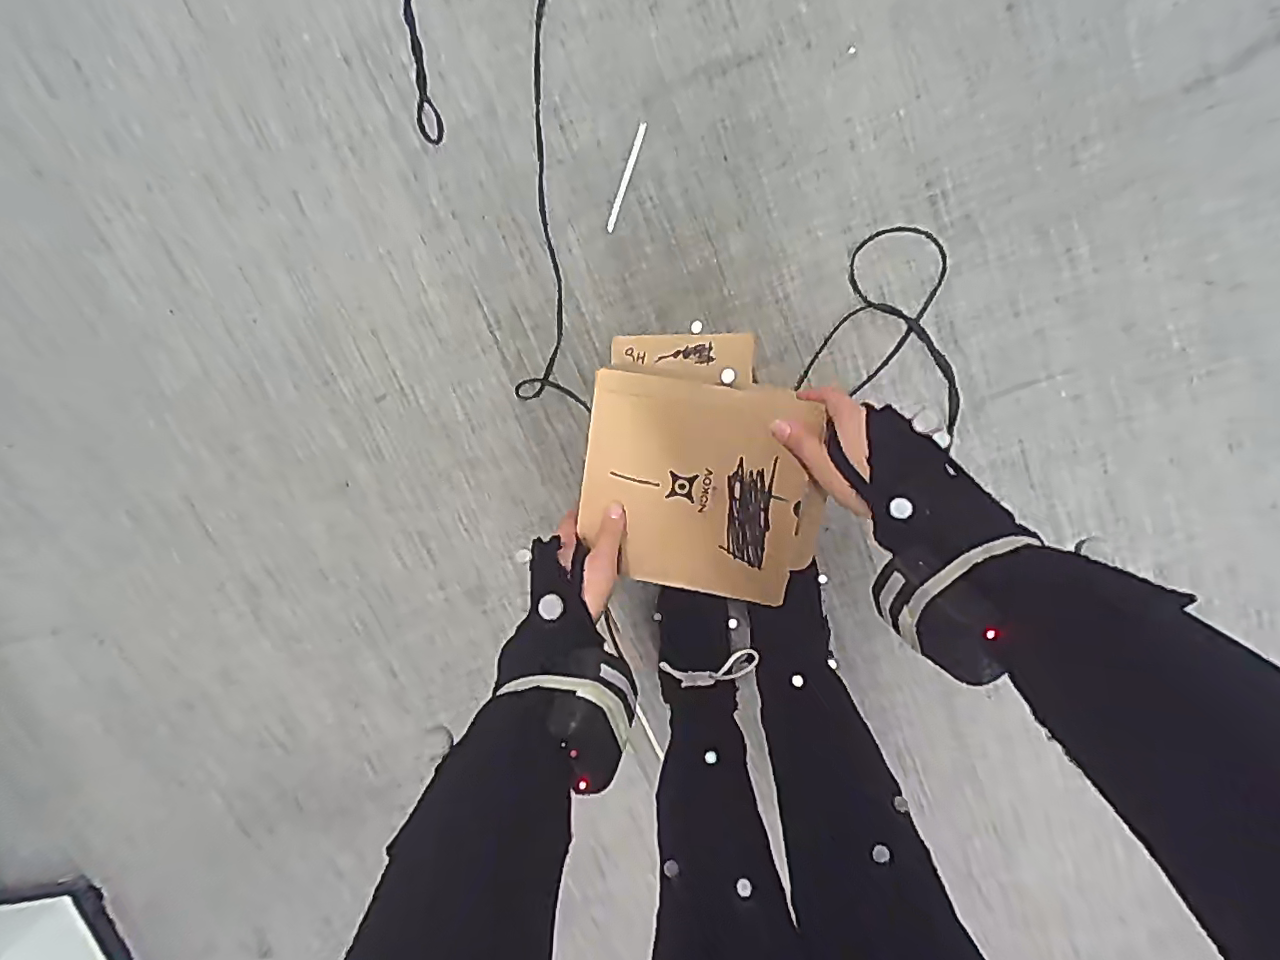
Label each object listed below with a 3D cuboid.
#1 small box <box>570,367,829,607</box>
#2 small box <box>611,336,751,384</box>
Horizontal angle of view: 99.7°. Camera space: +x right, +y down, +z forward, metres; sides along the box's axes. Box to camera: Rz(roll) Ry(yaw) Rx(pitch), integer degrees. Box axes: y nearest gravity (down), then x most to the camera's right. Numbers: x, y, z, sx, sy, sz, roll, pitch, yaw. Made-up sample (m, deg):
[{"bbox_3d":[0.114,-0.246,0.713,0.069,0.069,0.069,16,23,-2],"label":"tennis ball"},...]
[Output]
[{"bbox_3d":[0.049,-0.009,0.495,0.179,0.176,0.168,11,104,4],"label":"small box"},{"bbox_3d":[0.054,-0.099,0.720,0.168,0.176,0.179,0,102,4],"label":"small box"}]
